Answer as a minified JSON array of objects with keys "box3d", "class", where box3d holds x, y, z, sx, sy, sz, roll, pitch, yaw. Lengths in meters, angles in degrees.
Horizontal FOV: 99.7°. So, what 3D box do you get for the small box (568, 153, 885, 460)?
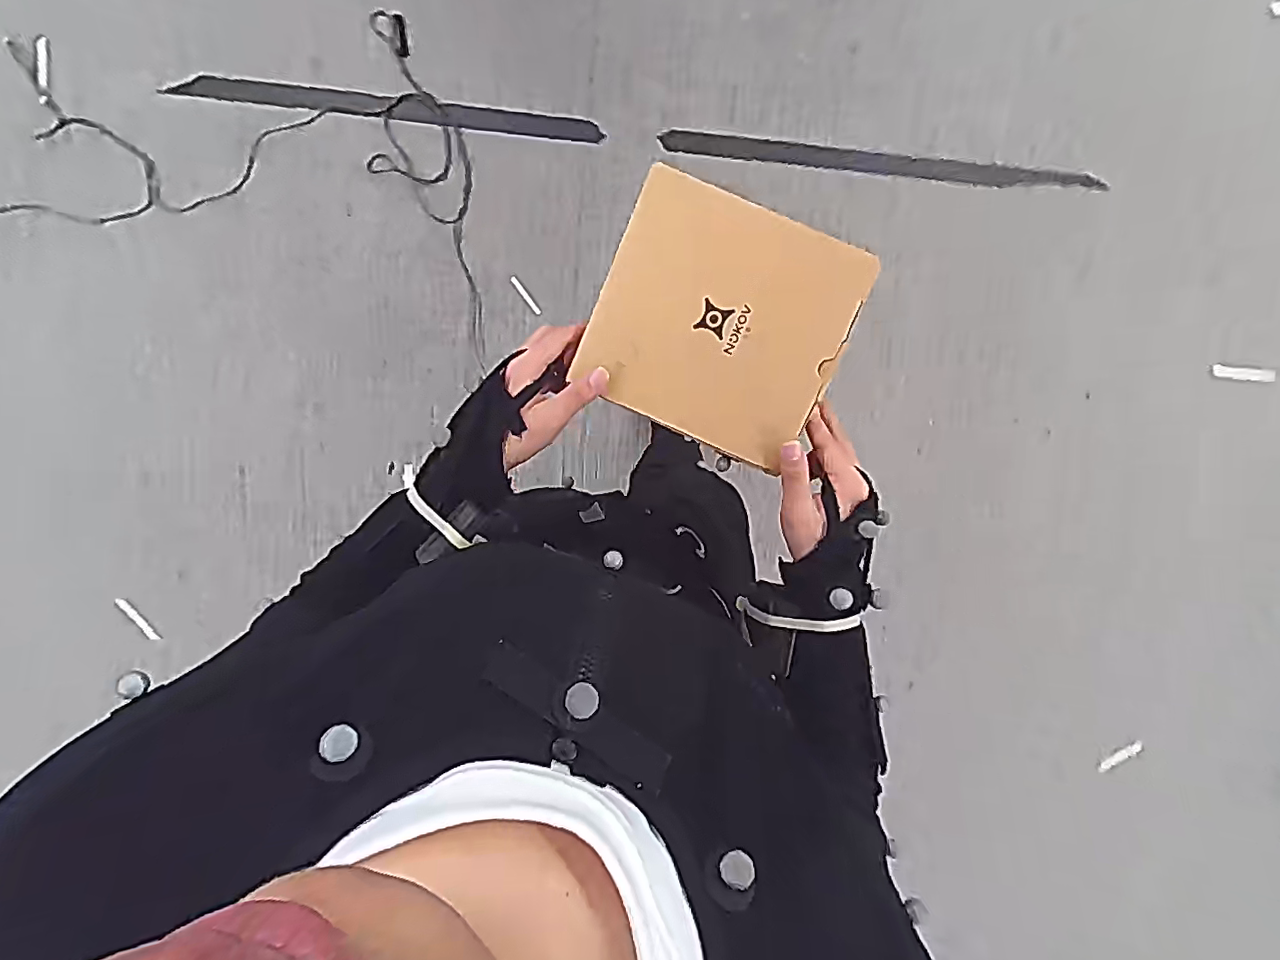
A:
[{"box3d":[0.062,-0.127,0.458,0.179,0.176,0.168,23,97,0],"class":"small box"}]
